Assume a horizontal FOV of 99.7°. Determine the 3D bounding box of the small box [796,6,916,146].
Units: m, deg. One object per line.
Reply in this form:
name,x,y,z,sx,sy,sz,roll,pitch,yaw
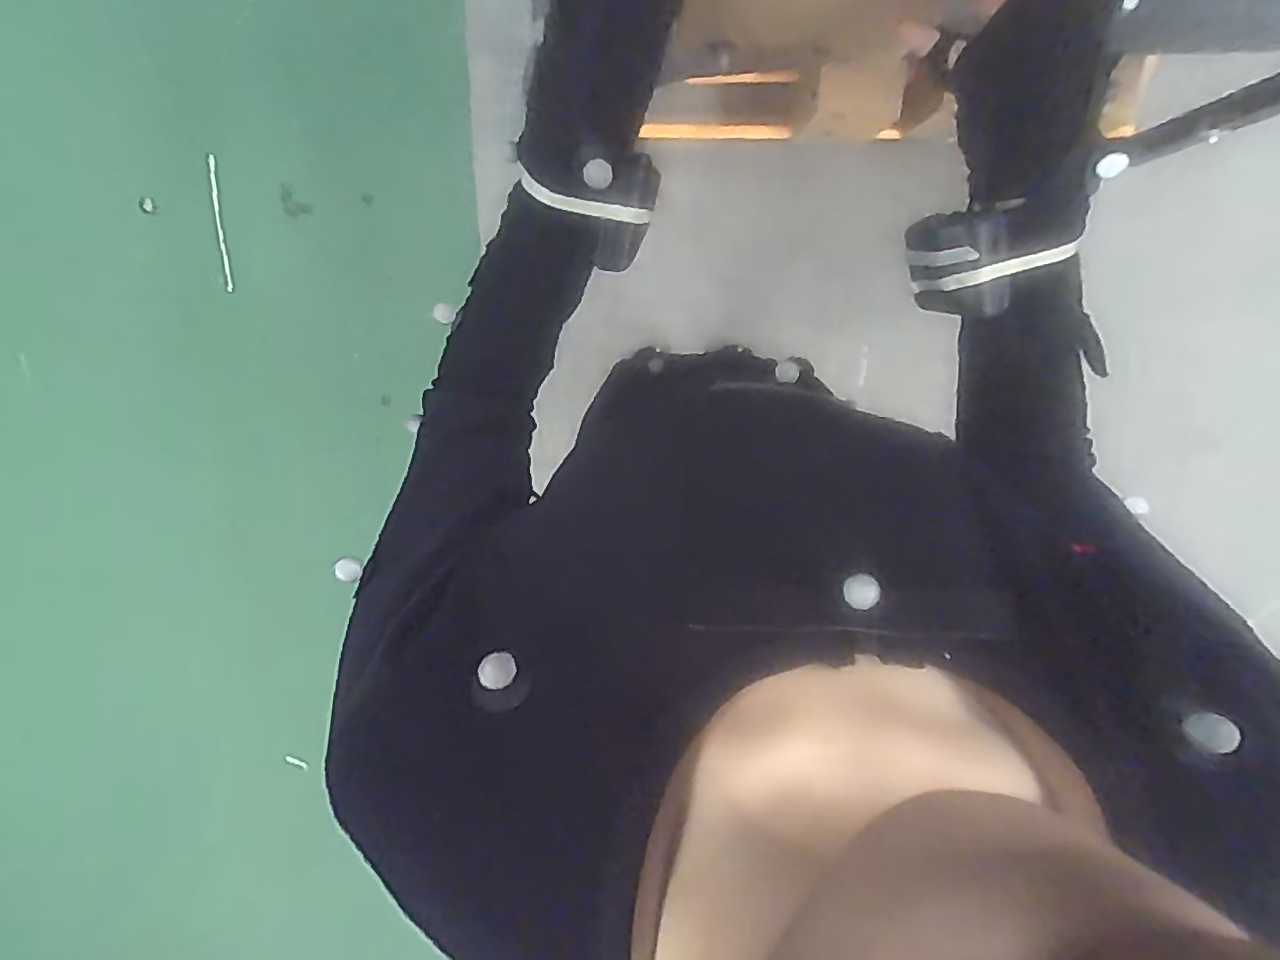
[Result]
small box,0.424,-0.803,1.091,0.168,0.176,0.179,2,106,0
